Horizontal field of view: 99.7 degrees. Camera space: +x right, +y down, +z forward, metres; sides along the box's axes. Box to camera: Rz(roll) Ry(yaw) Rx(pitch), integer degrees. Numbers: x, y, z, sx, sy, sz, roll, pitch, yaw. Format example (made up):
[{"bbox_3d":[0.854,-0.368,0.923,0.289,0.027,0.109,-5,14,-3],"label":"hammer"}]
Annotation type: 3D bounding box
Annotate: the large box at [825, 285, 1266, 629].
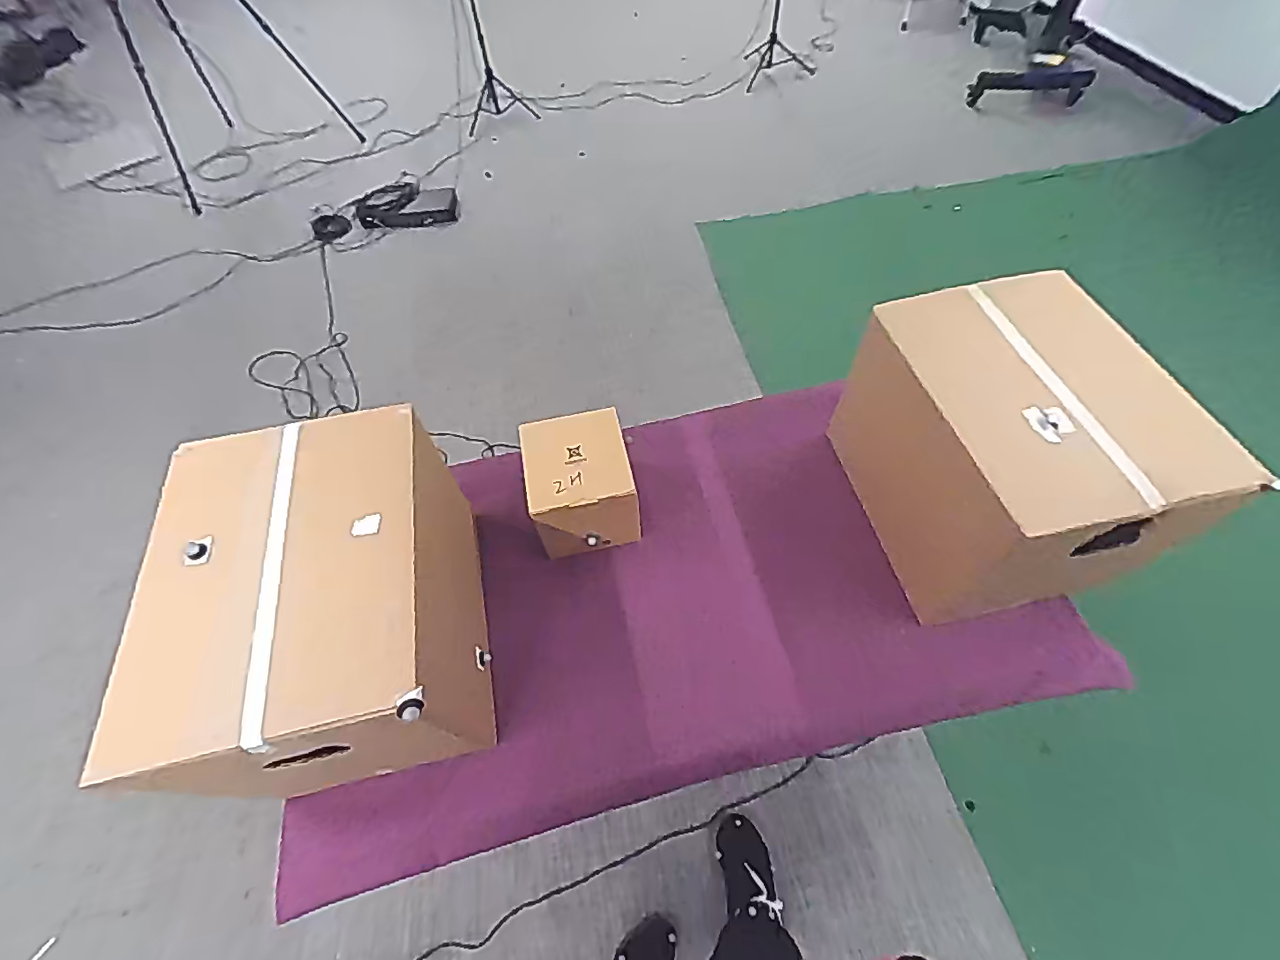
[{"bbox_3d":[0.541,-0.033,0.842,0.320,0.320,0.408,-12,57,-3],"label":"large box"}]
